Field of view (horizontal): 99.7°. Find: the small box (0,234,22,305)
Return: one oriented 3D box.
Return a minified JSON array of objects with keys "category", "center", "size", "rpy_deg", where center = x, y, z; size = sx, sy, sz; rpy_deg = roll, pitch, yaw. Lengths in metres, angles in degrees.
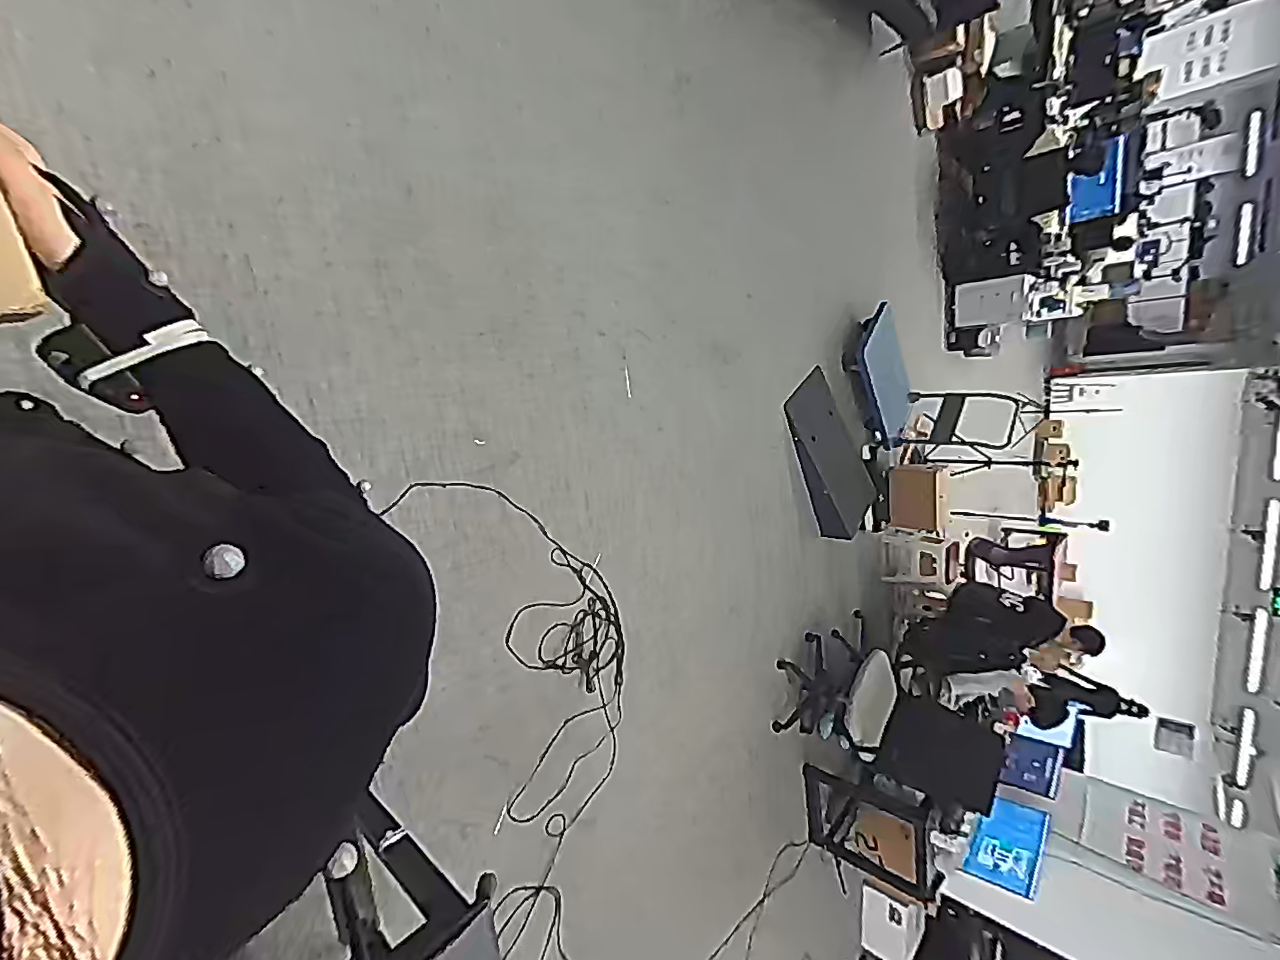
[{"category":"small box","center":[-0.470,-0.172,0.267],"size":[0.168,0.176,0.179],"rpy_deg":[-27,118,-47]}]
